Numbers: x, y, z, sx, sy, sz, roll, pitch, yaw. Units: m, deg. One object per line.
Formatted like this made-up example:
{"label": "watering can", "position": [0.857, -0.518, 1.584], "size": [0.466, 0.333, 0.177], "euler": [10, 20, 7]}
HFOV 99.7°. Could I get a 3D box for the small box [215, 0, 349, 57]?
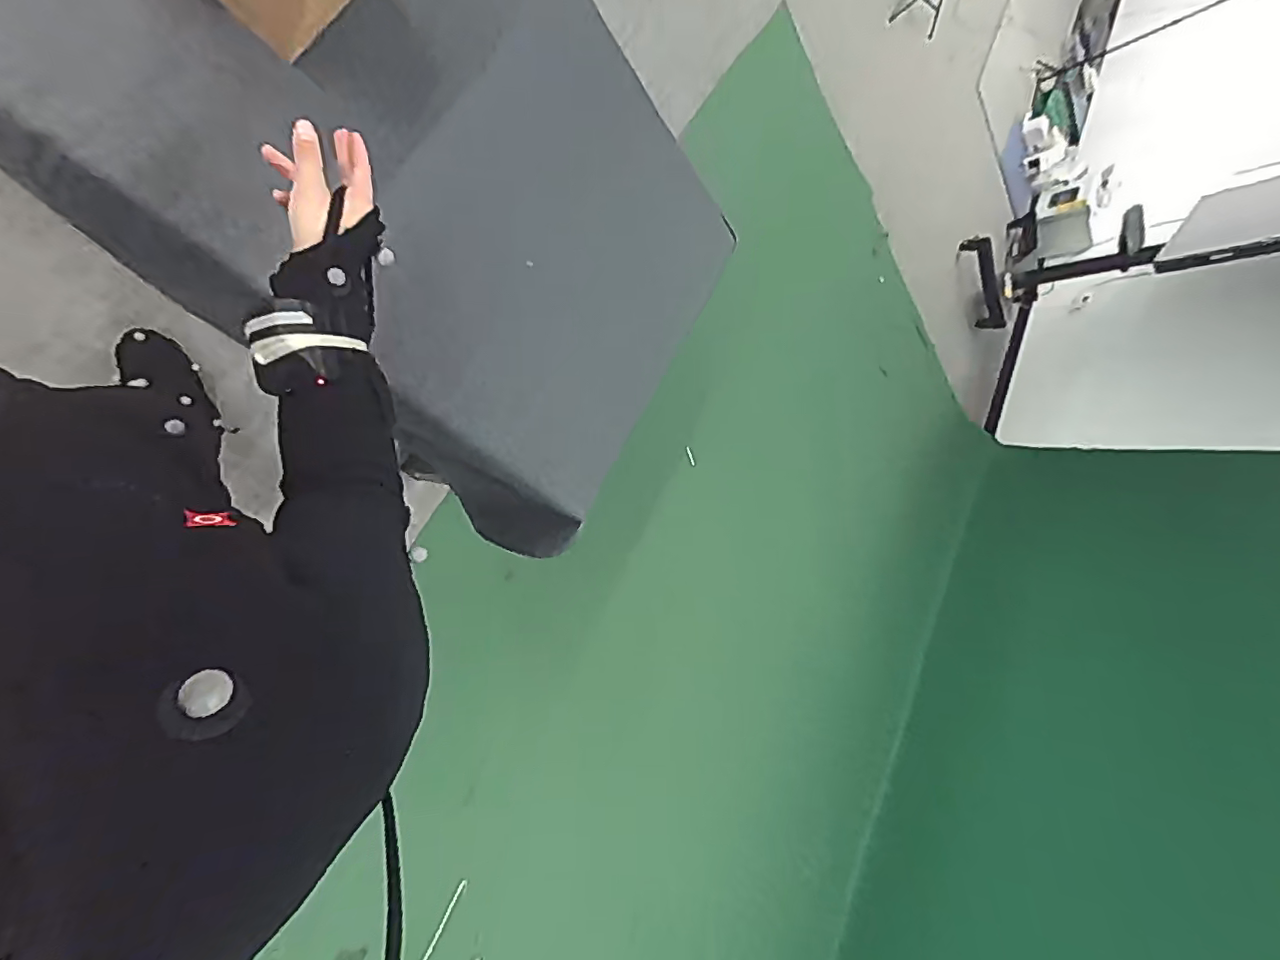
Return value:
{"label": "small box", "position": [-0.319, -0.525, 0.457], "size": [0.168, 0.176, 0.179], "euler": [37, 70, -36]}
